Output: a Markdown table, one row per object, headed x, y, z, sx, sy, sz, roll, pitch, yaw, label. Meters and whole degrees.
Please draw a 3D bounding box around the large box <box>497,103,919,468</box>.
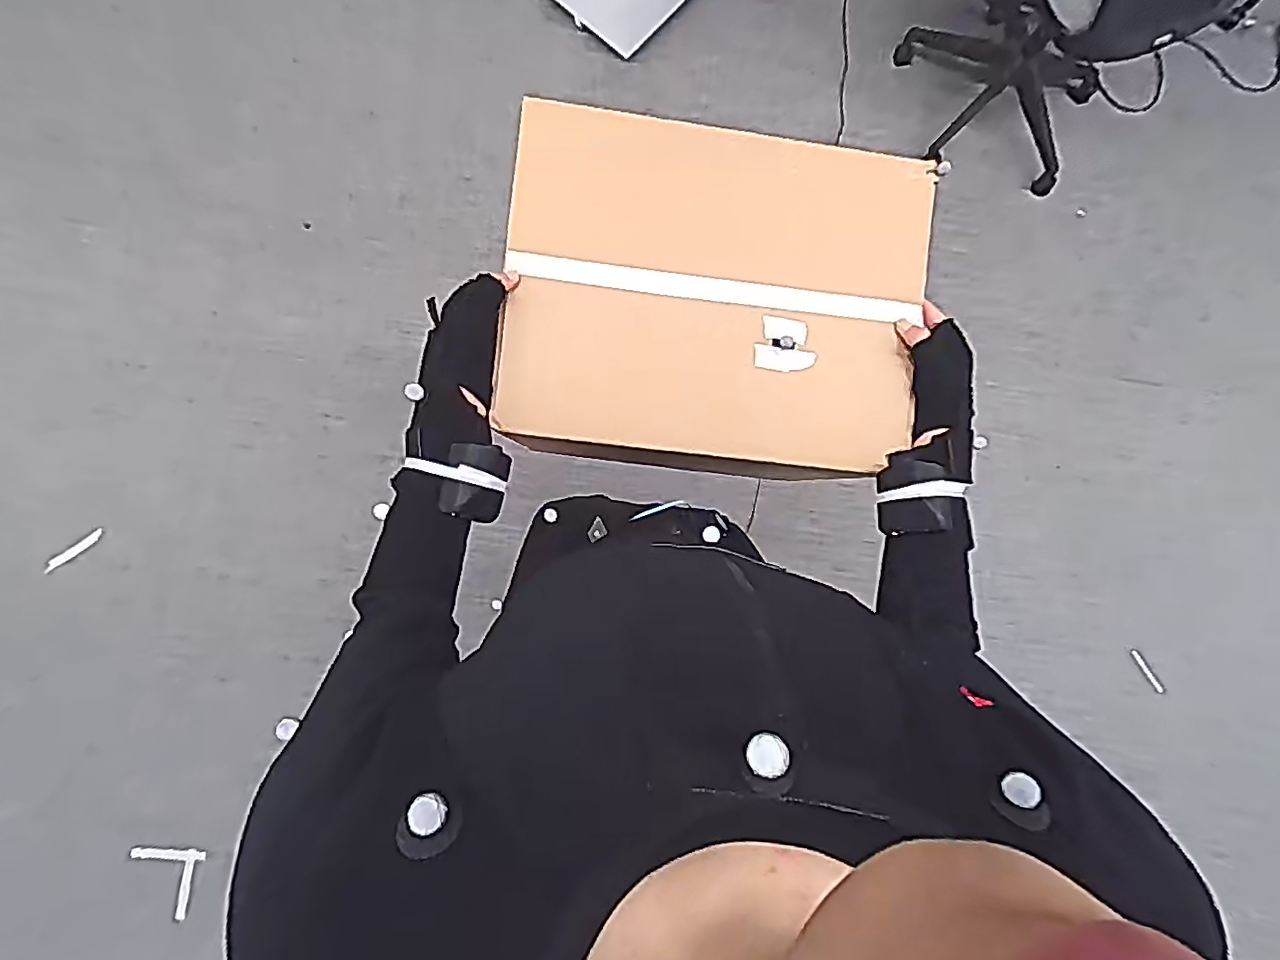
| x | y | z | sx | sy | sz | roll | pitch | yaw | label |
| --- | --- | --- | --- | --- | --- | --- | --- | --- | --- |
| 0.058 | -0.190 | 0.677 | 0.408 | 0.320 | 0.320 | 7 | 90 | -5 | large box |
